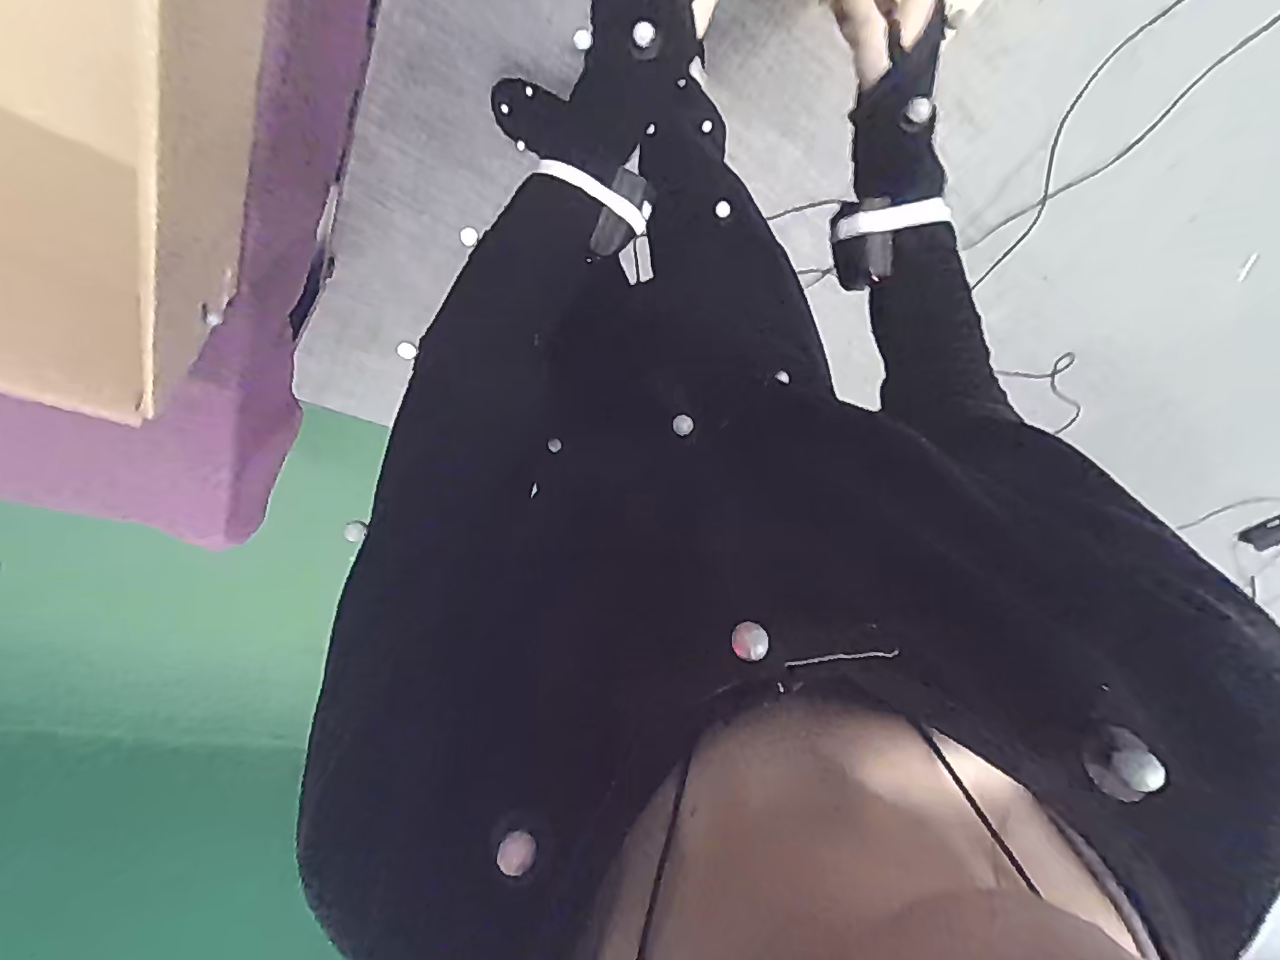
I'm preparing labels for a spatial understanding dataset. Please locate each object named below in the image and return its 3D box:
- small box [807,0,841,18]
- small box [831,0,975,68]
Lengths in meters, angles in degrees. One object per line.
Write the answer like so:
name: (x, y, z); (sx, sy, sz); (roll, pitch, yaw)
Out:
small box: (0.282, -0.884, 0.846); (0.168, 0.176, 0.179); (14, 135, -24)
small box: (0.306, -0.637, 0.628); (0.179, 0.176, 0.168); (20, 133, -29)
